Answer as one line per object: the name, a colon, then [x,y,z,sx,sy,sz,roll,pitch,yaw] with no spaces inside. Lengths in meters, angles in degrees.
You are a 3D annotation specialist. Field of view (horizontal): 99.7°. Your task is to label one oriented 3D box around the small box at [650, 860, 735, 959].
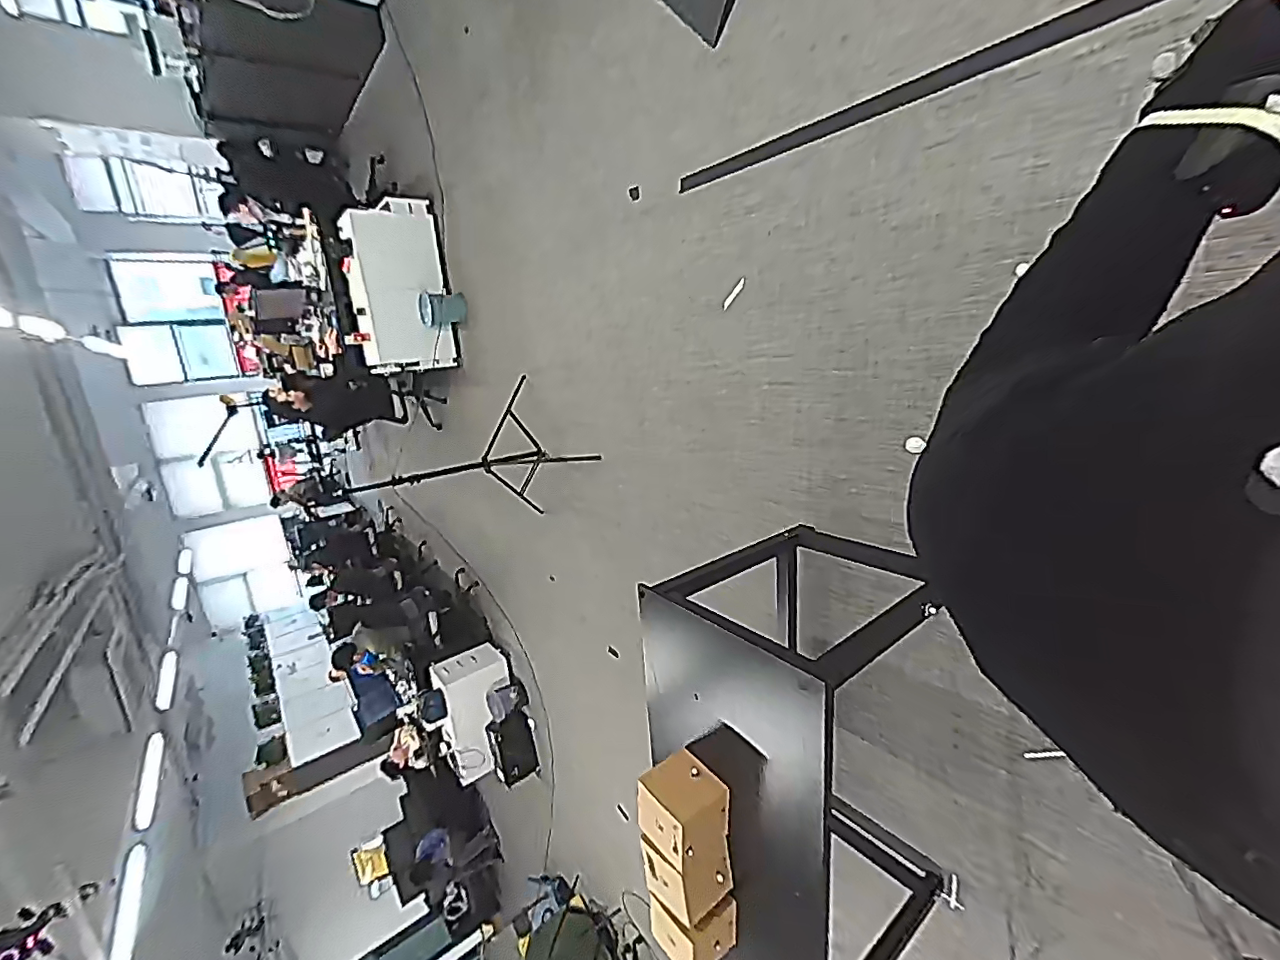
small box: [0.149,1.218,1.504,0.179,0.176,0.168,19,117,50]
